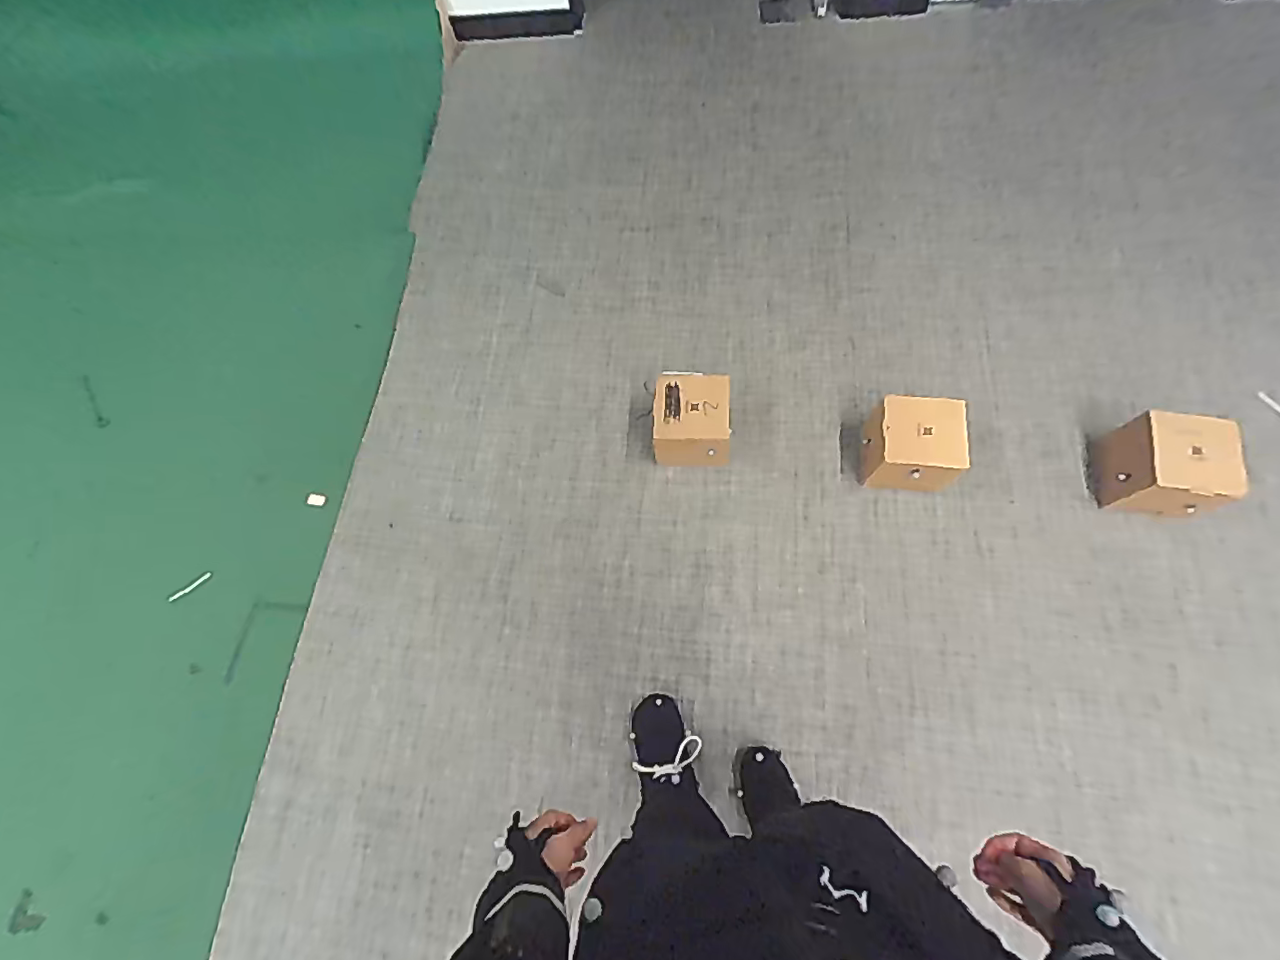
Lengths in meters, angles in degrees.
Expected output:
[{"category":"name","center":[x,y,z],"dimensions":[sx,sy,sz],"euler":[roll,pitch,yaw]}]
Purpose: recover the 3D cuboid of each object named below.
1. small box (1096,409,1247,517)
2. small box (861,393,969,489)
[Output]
[{"category":"small box","center":[1.144,-0.031,1.179],"dimensions":[0.168,0.176,0.179],"euler":[10,71,8]},{"category":"small box","center":[0.628,-0.084,1.251],"dimensions":[0.179,0.176,0.168],"euler":[5,71,8]}]
